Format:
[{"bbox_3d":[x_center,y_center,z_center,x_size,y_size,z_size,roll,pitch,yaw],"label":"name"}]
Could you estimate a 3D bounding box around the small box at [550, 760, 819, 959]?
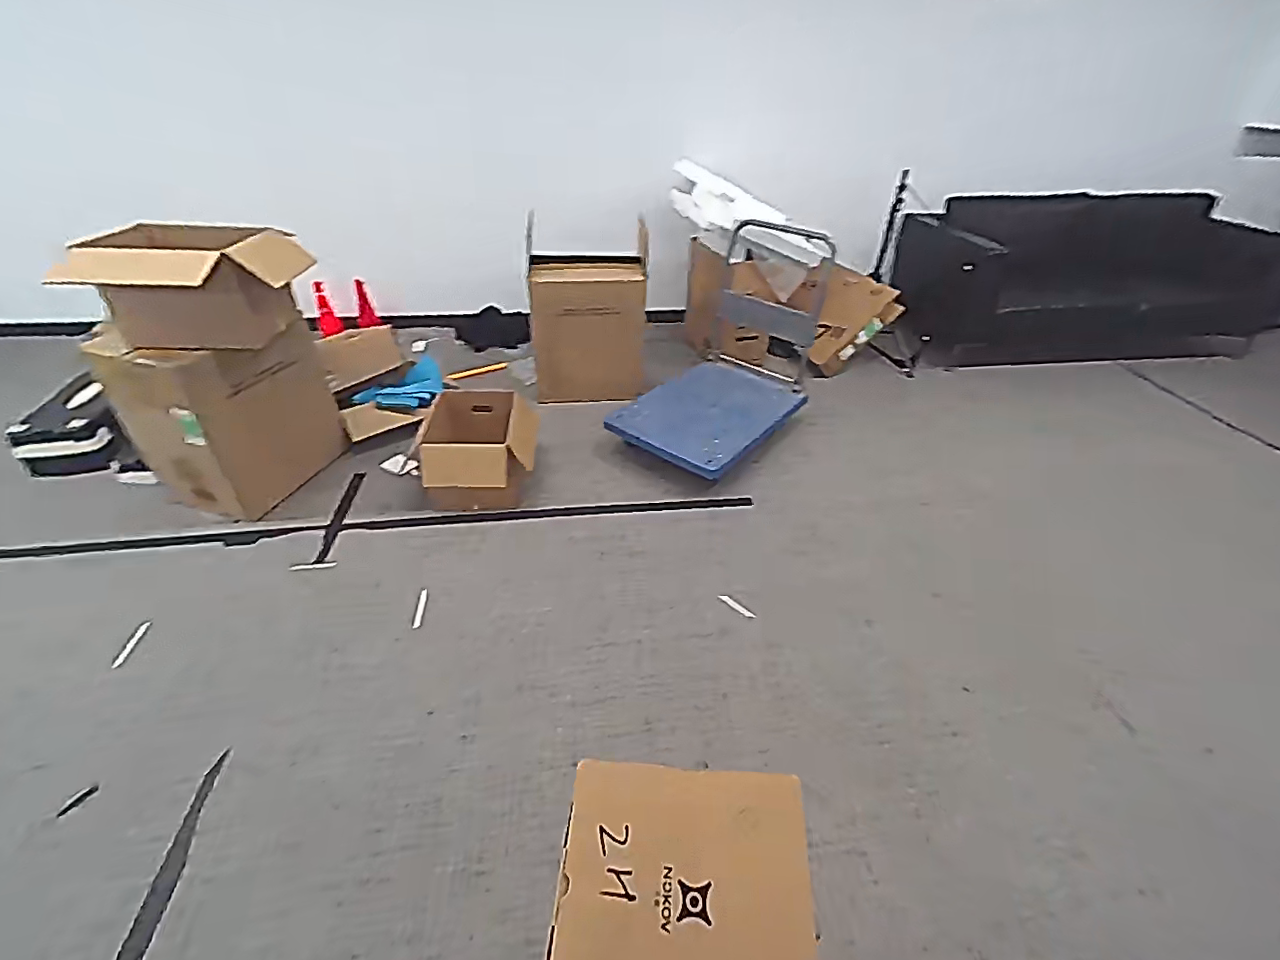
[{"bbox_3d":[0.037,0.339,0.428,0.179,0.176,0.168,0,48,8],"label":"small box"}]
